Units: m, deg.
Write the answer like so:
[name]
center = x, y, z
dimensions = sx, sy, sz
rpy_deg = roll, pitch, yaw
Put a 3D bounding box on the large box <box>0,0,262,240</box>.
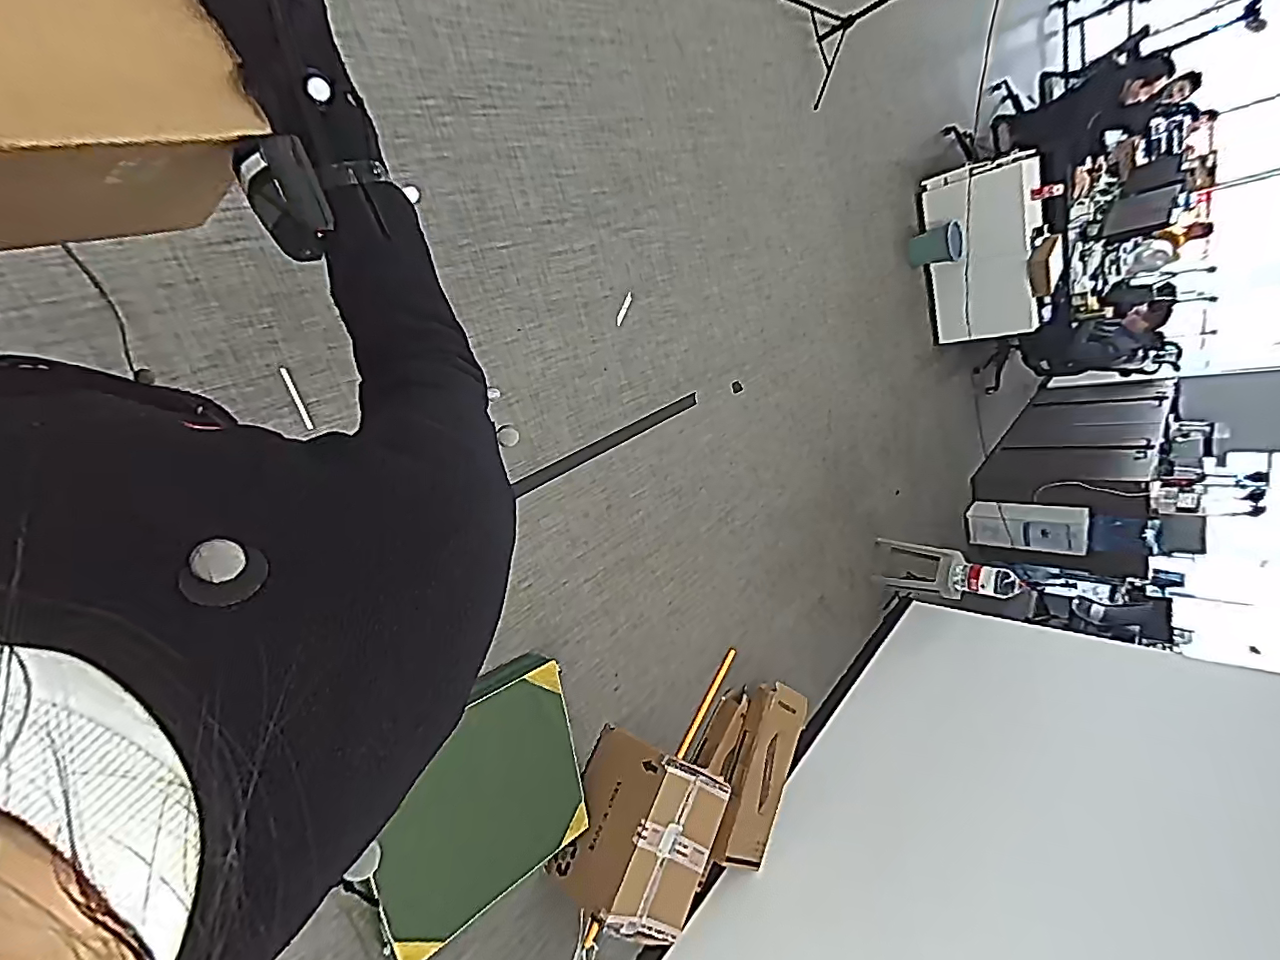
[large box]
center = -0.518, -0.301, 0.277
dimensions = 0.408, 0.320, 0.320
rpy_deg = -33, 122, -38
